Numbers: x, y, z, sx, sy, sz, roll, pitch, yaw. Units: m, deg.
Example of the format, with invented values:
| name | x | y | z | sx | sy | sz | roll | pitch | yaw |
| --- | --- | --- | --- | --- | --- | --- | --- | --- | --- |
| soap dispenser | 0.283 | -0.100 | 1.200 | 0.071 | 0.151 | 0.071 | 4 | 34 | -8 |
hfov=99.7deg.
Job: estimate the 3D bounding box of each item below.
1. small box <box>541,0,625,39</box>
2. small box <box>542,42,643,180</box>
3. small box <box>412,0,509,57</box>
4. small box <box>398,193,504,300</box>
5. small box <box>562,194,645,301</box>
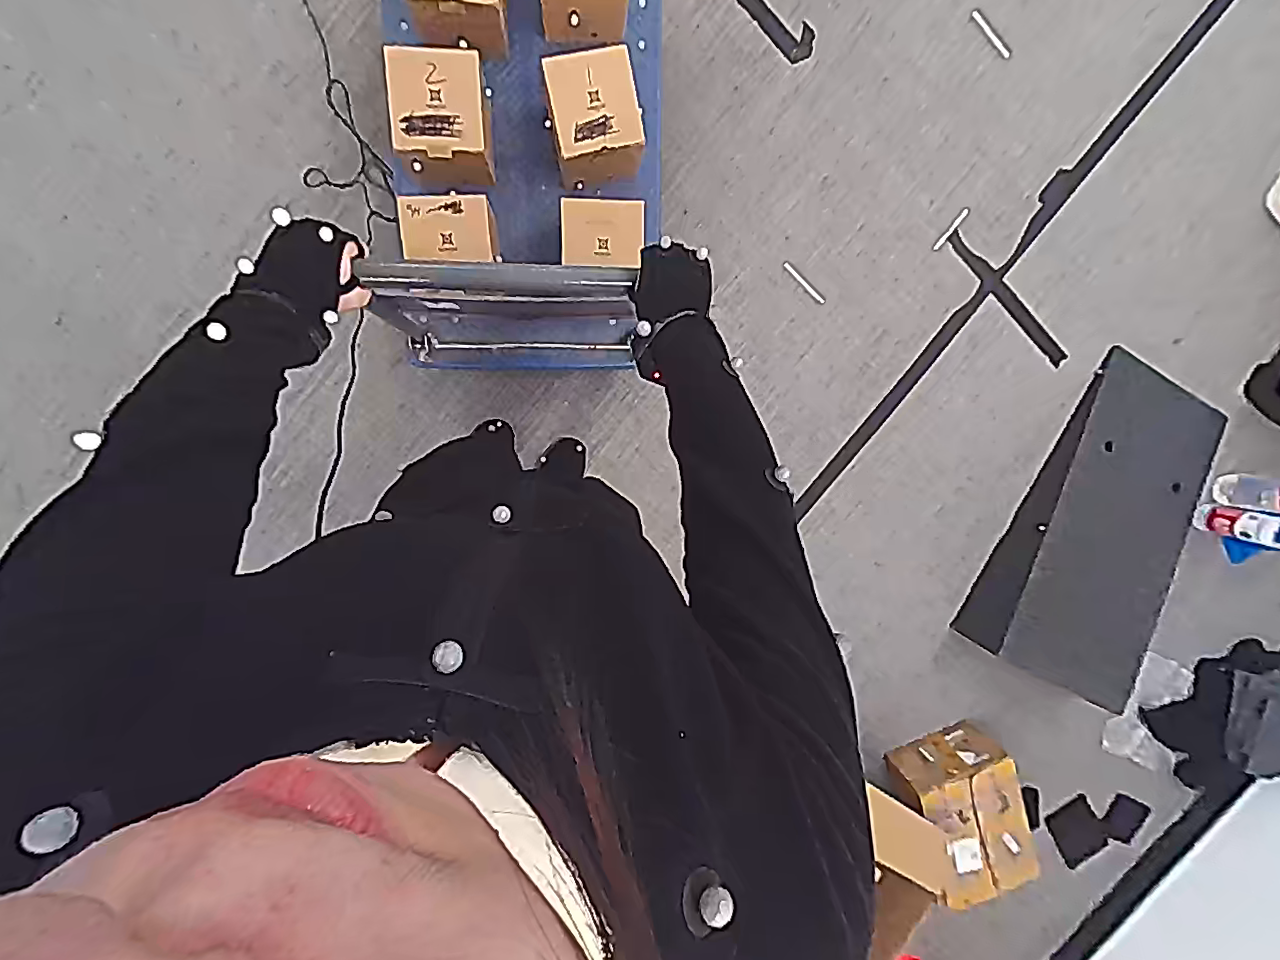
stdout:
| name | x | y | z | sx | sy | sz | roll | pitch | yaw |
| --- | --- | --- | --- | --- | --- | --- | --- | --- | --- |
| small box | -0.114 | -1.003 | 1.053 | 0.168 | 0.176 | 0.179 | -4 | 100 | -6 |
| small box | -0.096 | -0.735 | 1.101 | 0.168 | 0.176 | 0.179 | -13 | 100 | -5 |
| small box | -0.344 | -0.960 | 1.029 | 0.168 | 0.176 | 0.179 | 0 | 100 | -7 |
| small box | -0.377 | -0.468 | 1.109 | 0.168 | 0.176 | 0.179 | -5 | 101 | -8 |
| small box | -0.081 | -0.482 | 1.148 | 0.168 | 0.176 | 0.179 | -1 | 99 | -8 |
